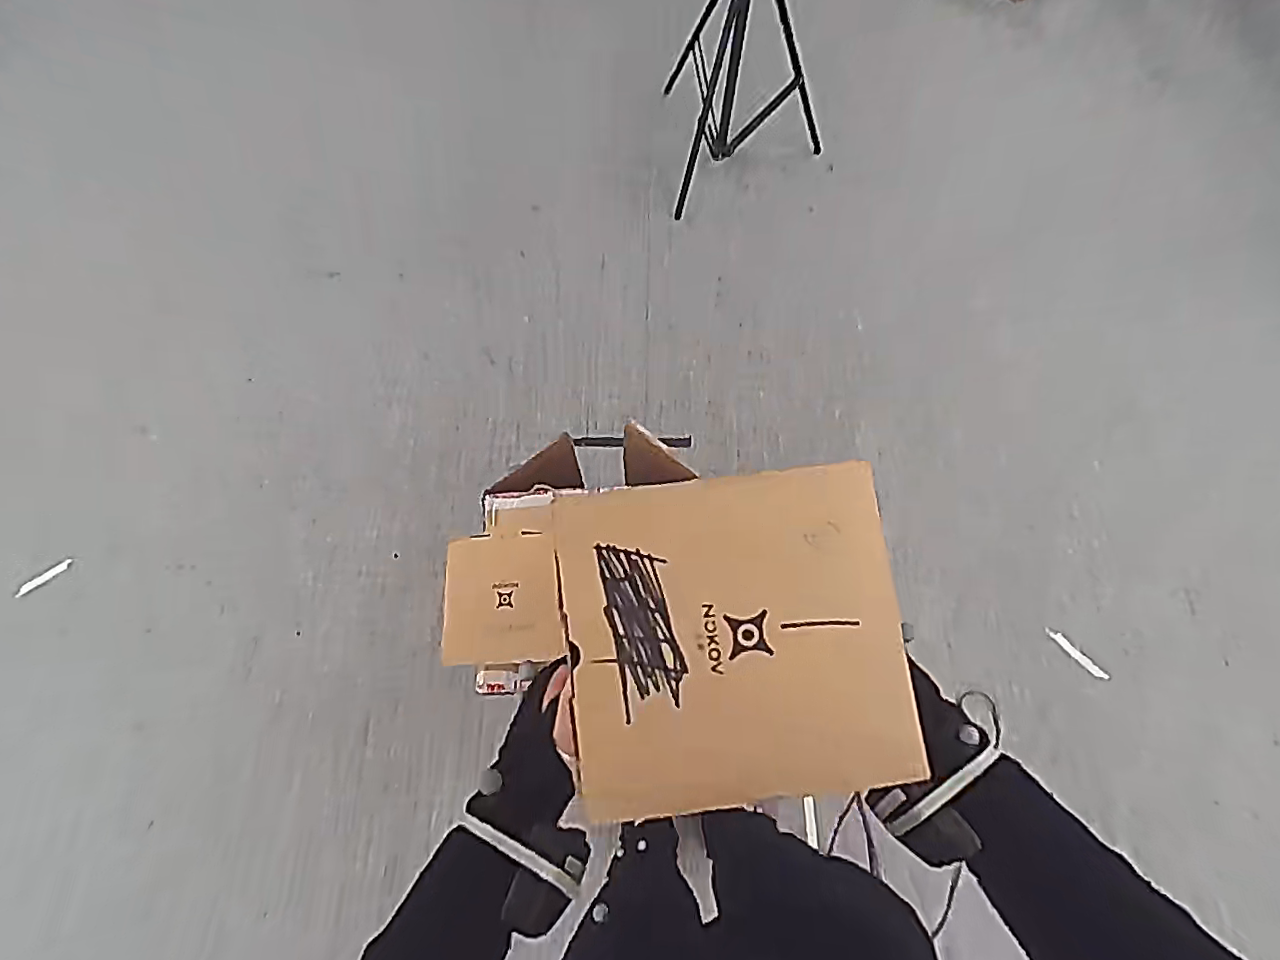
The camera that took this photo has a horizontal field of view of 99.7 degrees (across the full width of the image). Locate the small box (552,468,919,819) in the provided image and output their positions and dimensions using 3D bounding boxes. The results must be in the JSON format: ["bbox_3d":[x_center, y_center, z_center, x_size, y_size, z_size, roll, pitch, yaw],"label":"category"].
[{"bbox_3d":[0.049,0.094,0.365,0.179,0.176,0.168,-8,82,0],"label":"small box"}]

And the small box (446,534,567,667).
[{"bbox_3d":[-0.182,0.186,0.822,0.168,0.176,0.179,-4,75,0],"label":"small box"}]
